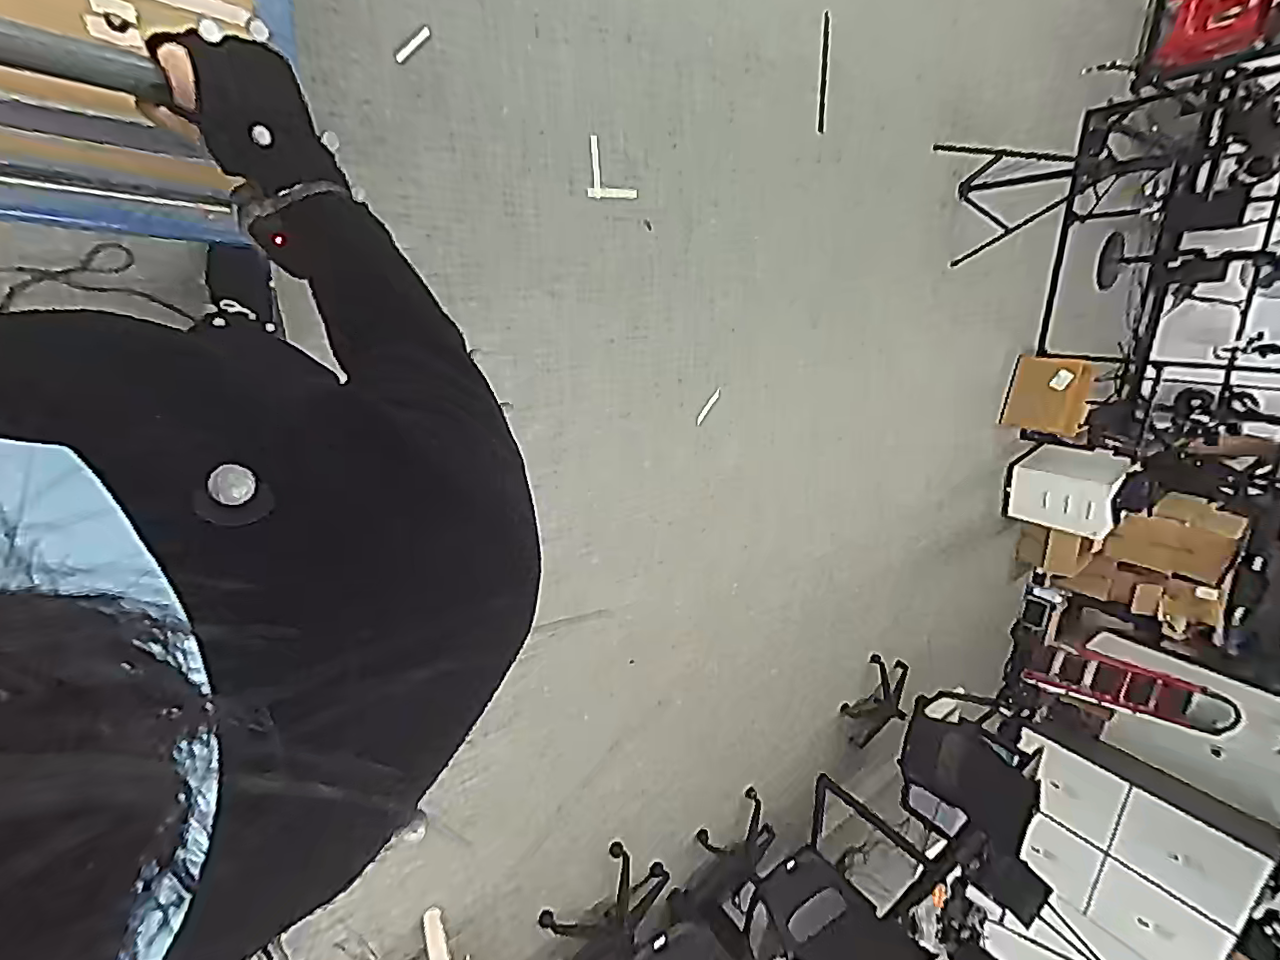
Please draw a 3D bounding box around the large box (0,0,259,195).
[{"bbox_3d":[-0.769,-0.601,0.707,0.408,0.320,0.320,-8,109,-36],"label":"large box"}]
